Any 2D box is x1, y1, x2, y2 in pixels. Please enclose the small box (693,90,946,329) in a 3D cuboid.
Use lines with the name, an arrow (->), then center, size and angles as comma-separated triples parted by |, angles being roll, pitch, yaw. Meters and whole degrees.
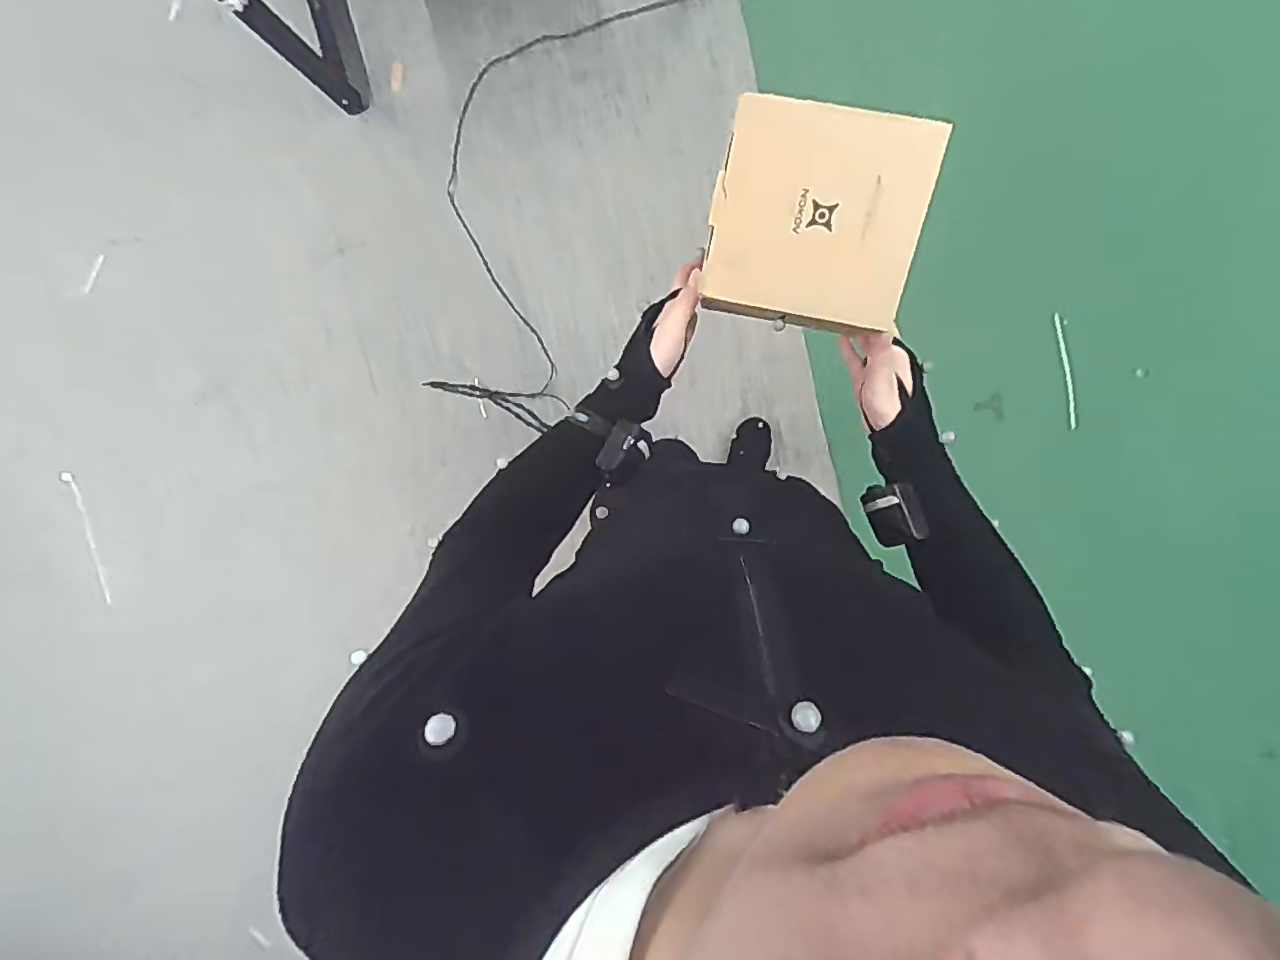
small box -> 0.158, -0.248, 0.537 | 0.179, 0.176, 0.168 | 12, 106, 5
